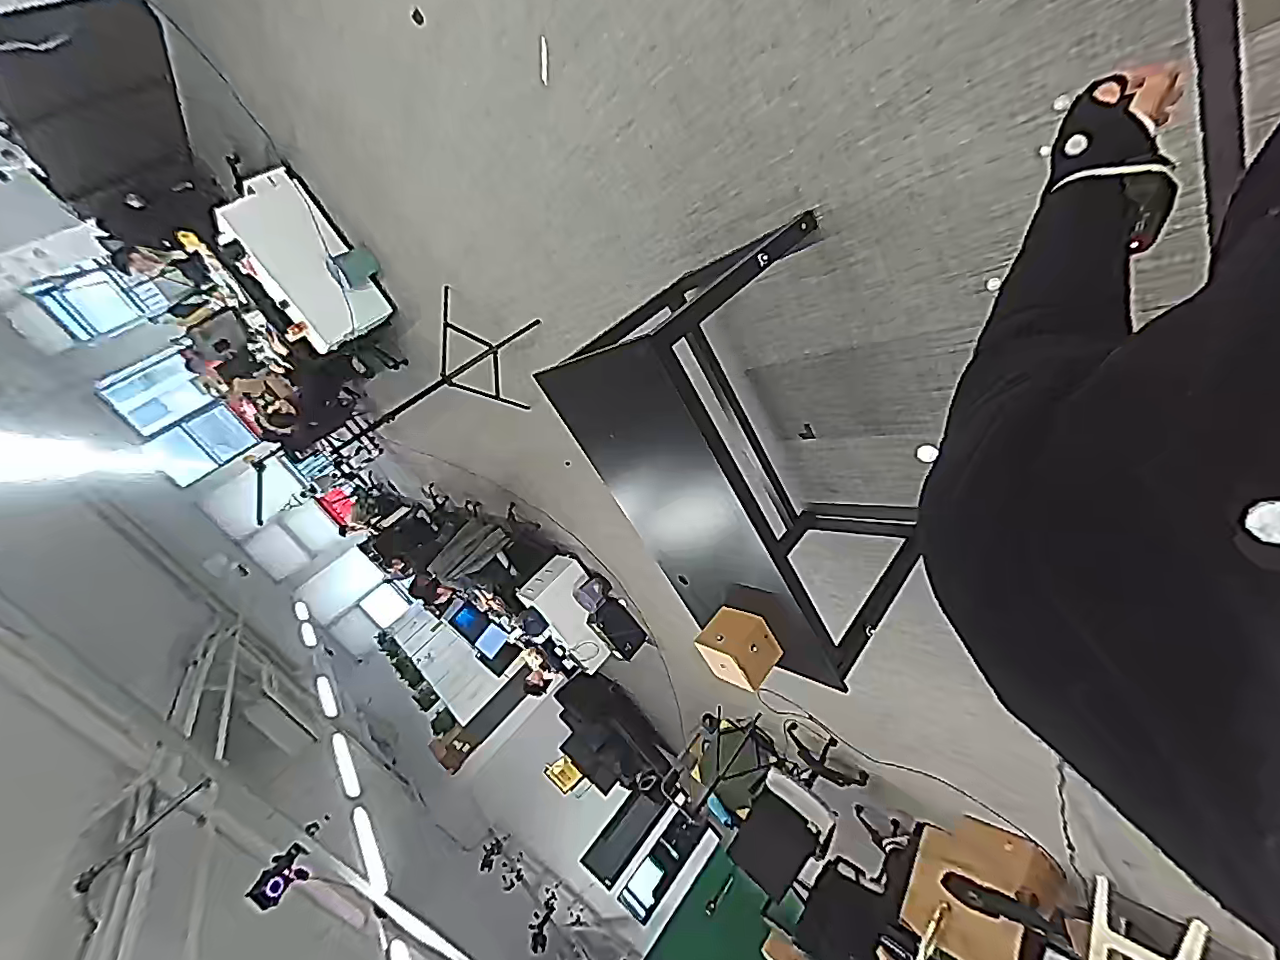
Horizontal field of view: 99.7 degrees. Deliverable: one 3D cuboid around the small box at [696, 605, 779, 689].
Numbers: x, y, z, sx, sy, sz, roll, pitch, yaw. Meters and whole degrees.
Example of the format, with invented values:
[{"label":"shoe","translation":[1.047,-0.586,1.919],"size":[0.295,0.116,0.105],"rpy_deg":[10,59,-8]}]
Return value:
[{"label":"small box","translation":[0.317,0.522,1.720],"size":[0.179,0.176,0.168],"rpy_deg":[2,129,56]}]
